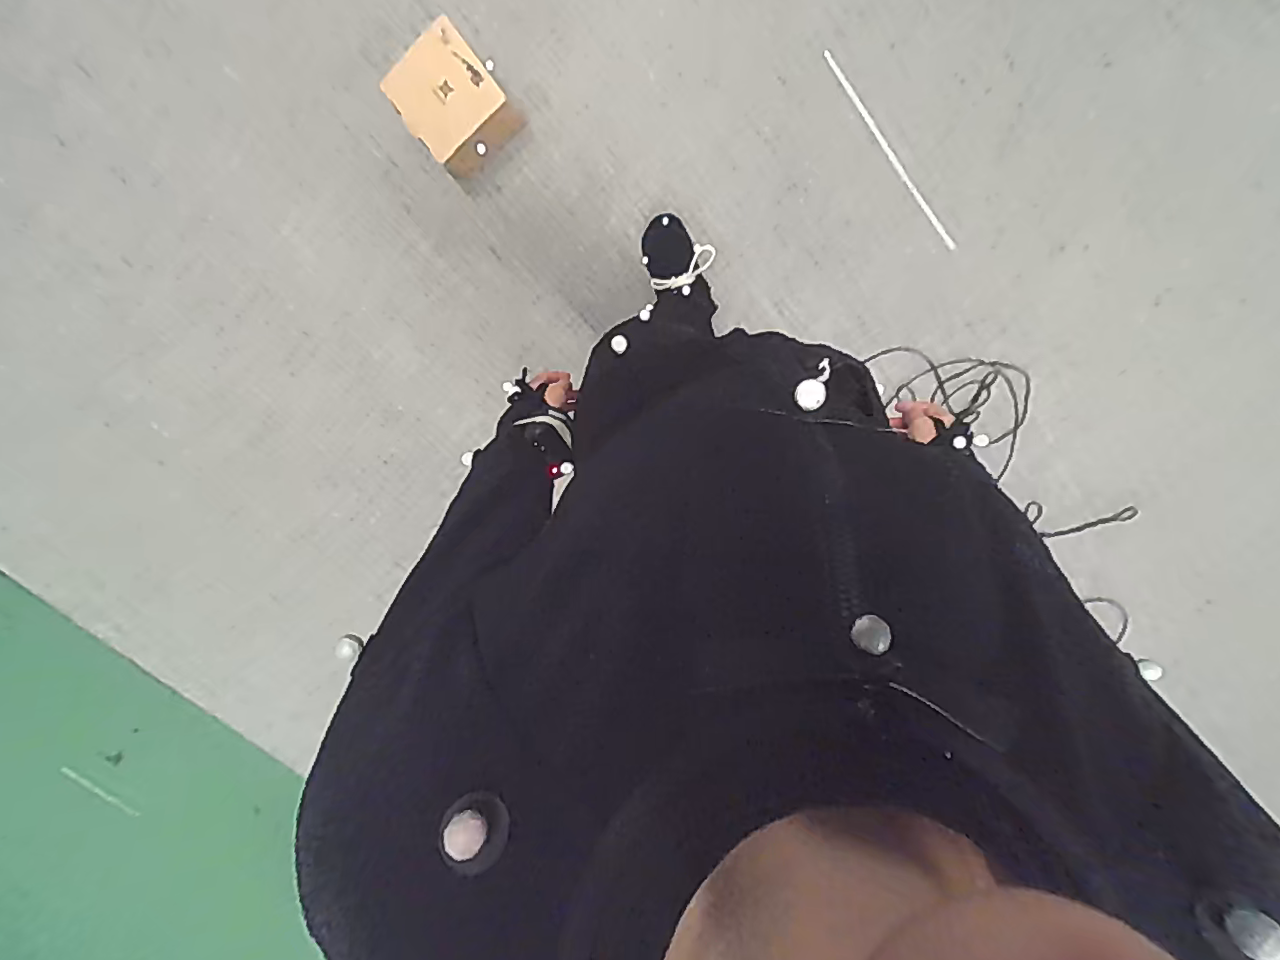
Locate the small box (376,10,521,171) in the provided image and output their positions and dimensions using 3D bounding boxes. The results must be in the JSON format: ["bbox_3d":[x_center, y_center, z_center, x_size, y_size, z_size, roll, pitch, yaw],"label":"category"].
[{"bbox_3d":[-0.358,-0.734,1.047,0.179,0.176,0.168,-35,106,16],"label":"small box"}]
